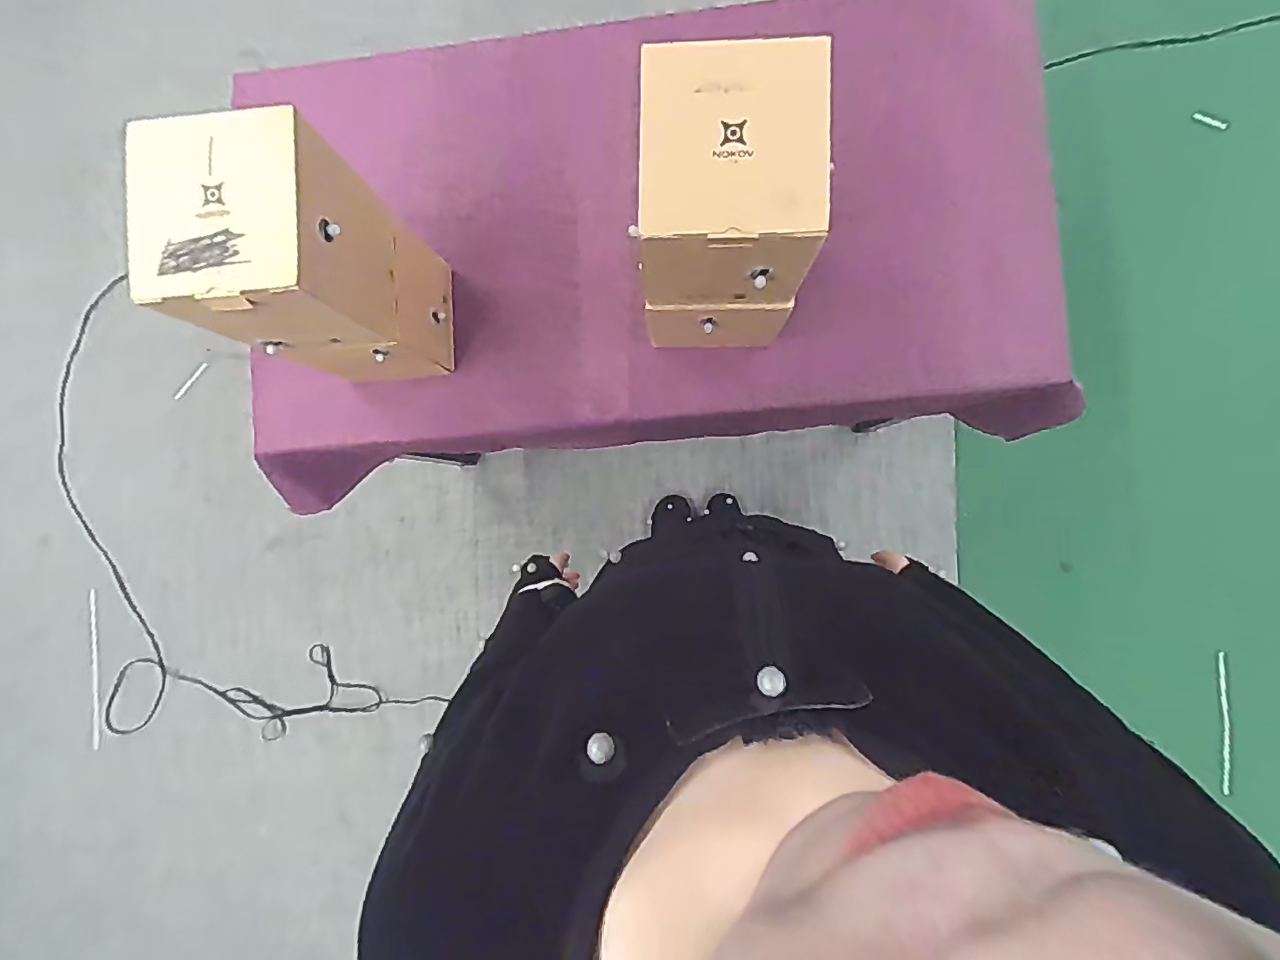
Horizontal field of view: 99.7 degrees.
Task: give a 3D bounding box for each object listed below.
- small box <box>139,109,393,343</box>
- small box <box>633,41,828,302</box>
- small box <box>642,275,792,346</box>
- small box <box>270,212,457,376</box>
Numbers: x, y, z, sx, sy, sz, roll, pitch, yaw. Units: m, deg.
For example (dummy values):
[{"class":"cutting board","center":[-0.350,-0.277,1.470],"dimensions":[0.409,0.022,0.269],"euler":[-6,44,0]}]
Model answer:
[{"class":"small box","center":[-0.390,-0.256,0.591],"dimensions":[0.168,0.176,0.179],"euler":[-3,87,4]},{"class":"small box","center":[0.086,-0.293,0.551],"dimensions":[0.168,0.176,0.179],"euler":[2,88,5]},{"class":"small box","center":[0.100,-0.279,0.713],"dimensions":[0.179,0.176,0.168],"euler":[2,89,5]},{"class":"small box","center":[-0.375,-0.246,0.755],"dimensions":[0.179,0.176,0.168],"euler":[-3,88,4]}]
